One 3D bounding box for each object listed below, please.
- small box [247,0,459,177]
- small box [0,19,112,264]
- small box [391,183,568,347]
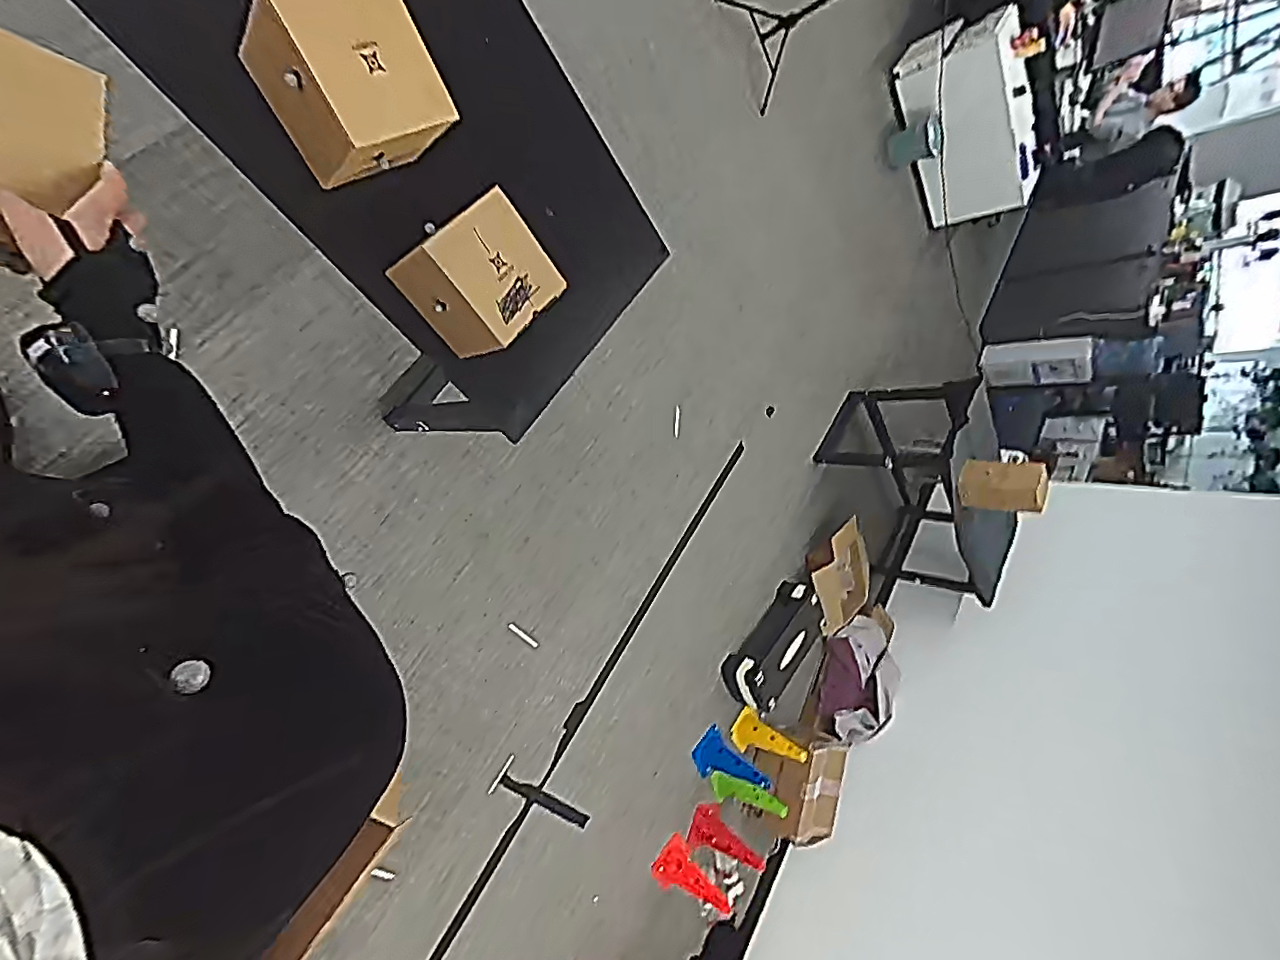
[{"bbox_3d":[-0.386,-0.538,0.730,0.168,0.176,0.179,-44,121,-30],"label":"small box"},{"bbox_3d":[-0.585,-0.291,0.455,0.179,0.176,0.168,-1,99,-54],"label":"small box"},{"bbox_3d":[-0.257,-0.330,0.866,0.168,0.176,0.179,-54,125,-24],"label":"small box"}]
